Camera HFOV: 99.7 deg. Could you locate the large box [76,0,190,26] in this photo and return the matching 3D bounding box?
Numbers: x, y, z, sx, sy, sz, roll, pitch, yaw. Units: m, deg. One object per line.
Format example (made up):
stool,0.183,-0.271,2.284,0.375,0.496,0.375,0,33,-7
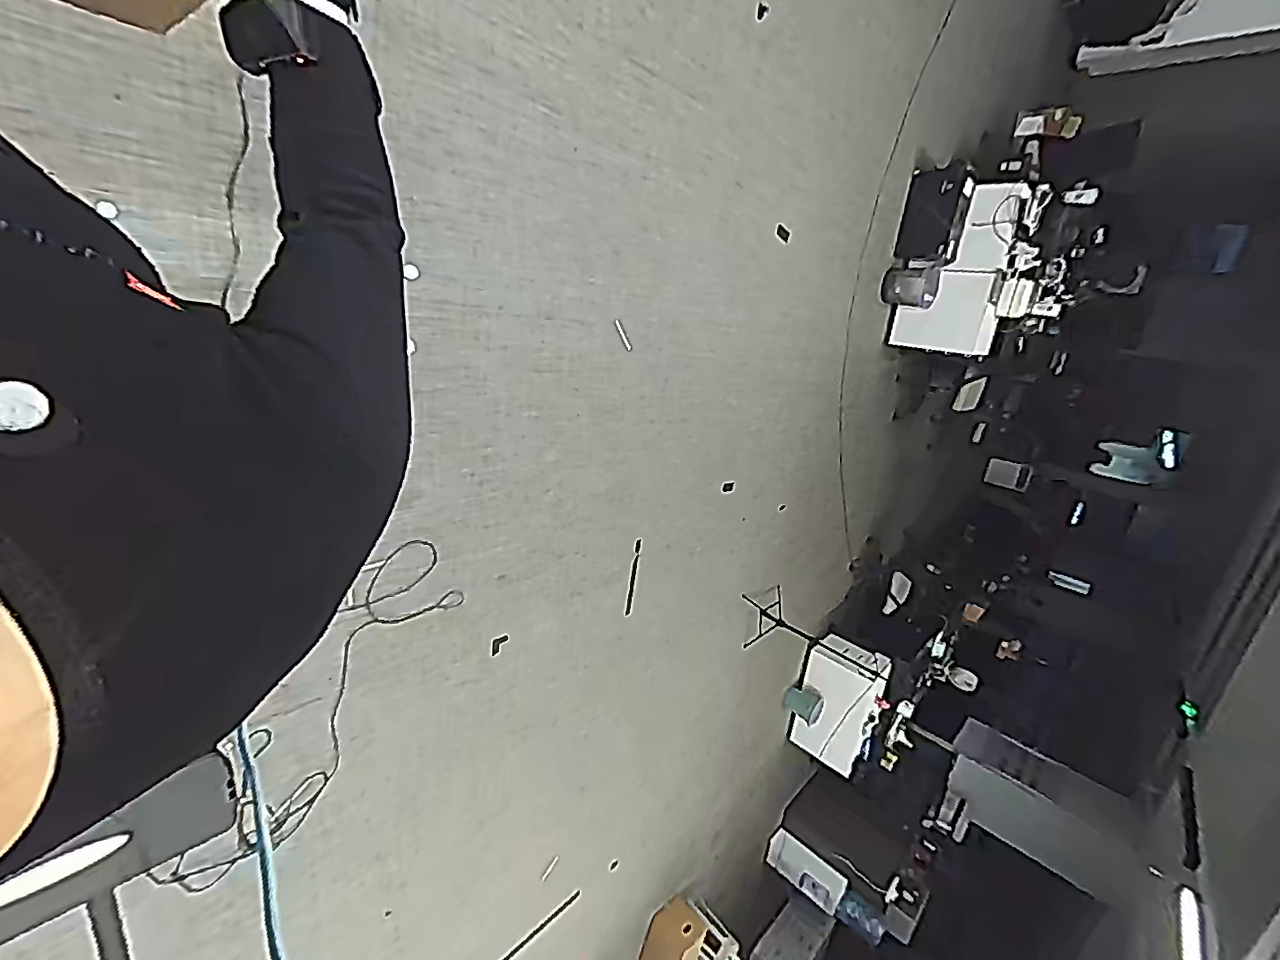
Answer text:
large box,-0.482,-0.510,0.260,0.408,0.320,0.320,-13,120,-47
